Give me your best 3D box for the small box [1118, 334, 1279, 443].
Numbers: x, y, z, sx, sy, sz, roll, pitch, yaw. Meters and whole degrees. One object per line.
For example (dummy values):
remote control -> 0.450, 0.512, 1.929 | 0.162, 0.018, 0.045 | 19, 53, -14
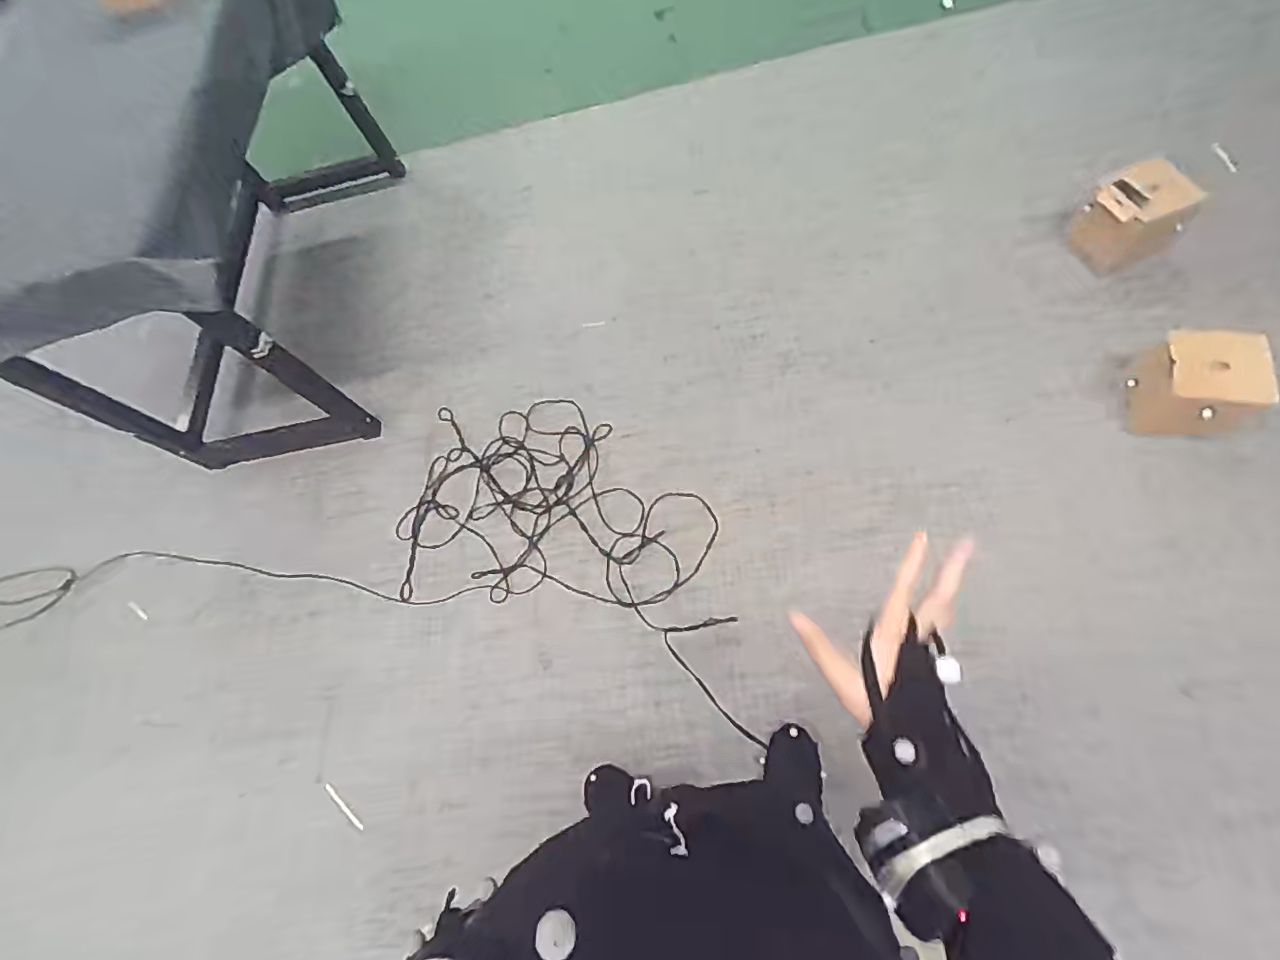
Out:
small box -> 1.197, -0.193, 1.174 | 0.179, 0.176, 0.168 | 8, 70, 14
